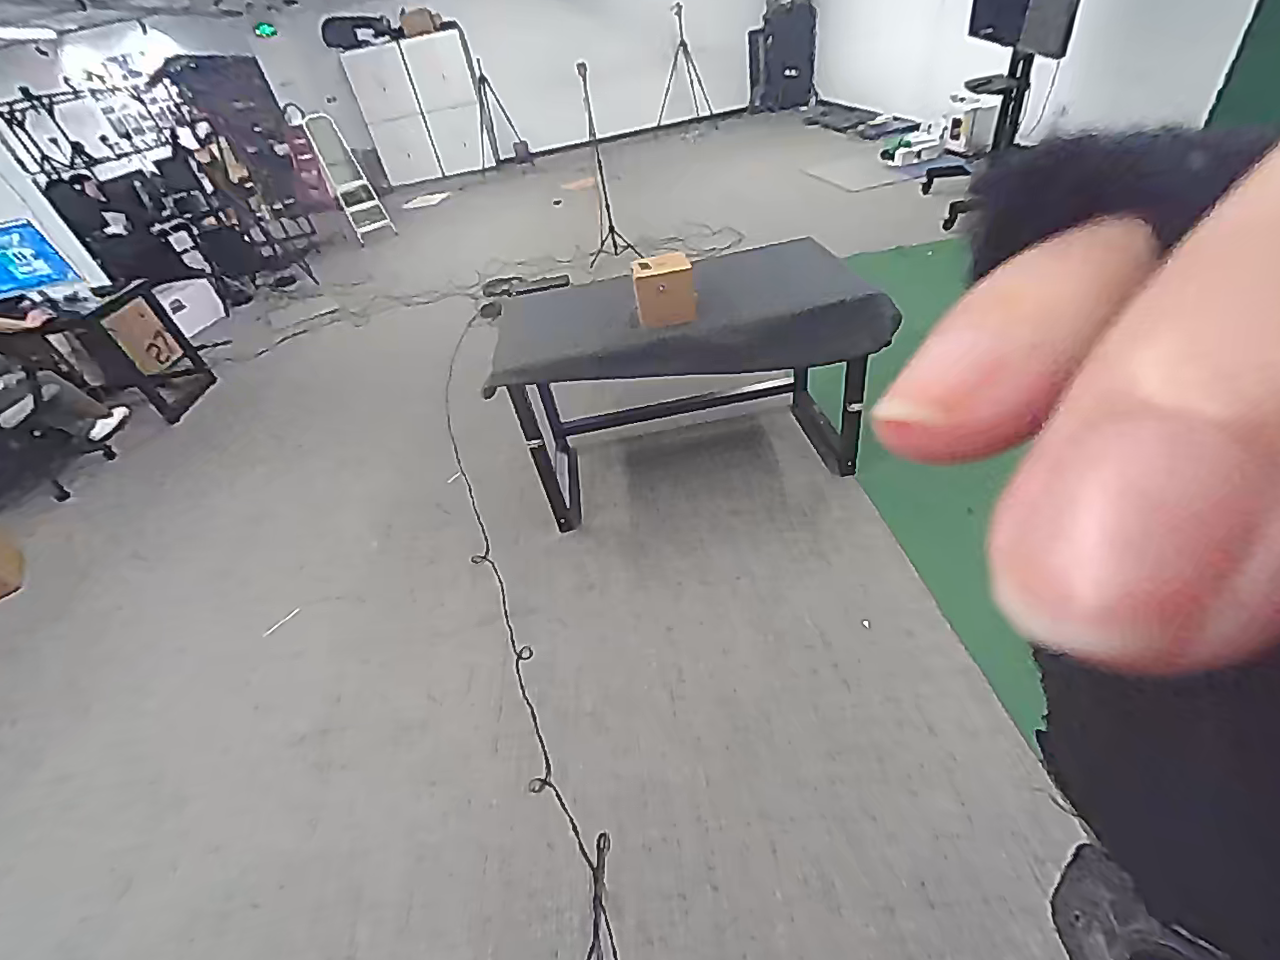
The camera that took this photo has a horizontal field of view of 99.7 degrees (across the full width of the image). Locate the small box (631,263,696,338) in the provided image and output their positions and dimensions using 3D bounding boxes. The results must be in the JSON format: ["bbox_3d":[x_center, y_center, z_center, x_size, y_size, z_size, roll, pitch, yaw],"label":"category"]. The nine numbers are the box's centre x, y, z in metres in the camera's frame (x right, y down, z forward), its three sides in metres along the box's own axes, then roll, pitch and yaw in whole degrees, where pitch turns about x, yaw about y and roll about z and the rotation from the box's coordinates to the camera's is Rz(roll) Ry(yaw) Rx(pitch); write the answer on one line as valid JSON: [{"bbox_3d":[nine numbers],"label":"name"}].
[{"bbox_3d":[0.075,-0.569,1.721,0.179,0.176,0.168,-11,39,1],"label":"small box"}]
